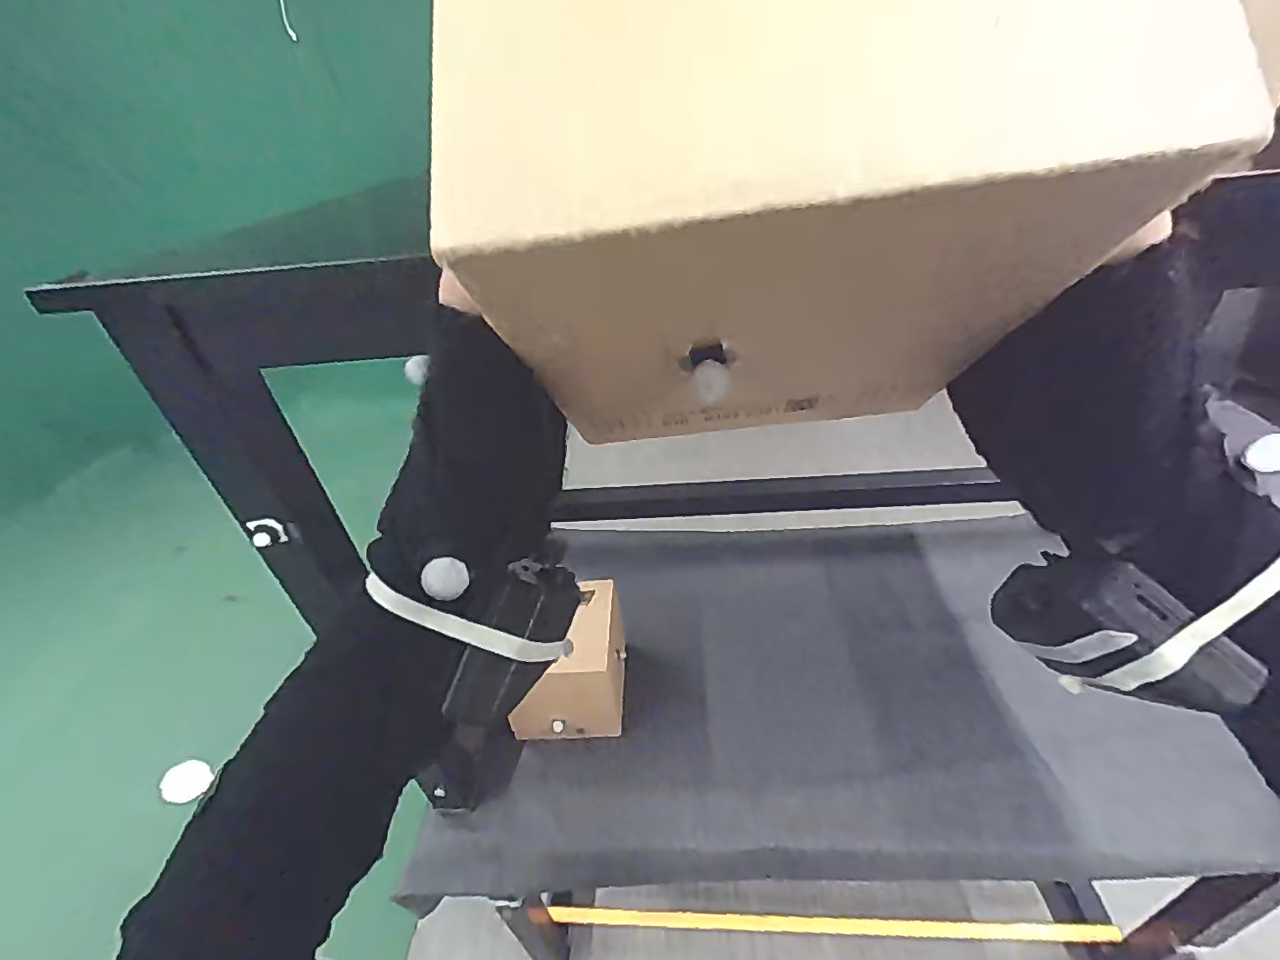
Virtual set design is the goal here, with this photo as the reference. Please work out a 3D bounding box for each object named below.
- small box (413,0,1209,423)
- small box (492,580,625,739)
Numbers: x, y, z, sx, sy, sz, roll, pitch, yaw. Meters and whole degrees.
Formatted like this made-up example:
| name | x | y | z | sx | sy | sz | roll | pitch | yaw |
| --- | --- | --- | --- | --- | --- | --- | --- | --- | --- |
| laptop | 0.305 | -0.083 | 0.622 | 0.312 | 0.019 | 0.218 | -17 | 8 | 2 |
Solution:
| name | x | y | z | sx | sy | sz | roll | pitch | yaw |
| --- | --- | --- | --- | --- | --- | --- | --- | --- | --- |
| small box | 0.034 | -0.127 | 0.208 | 0.168 | 0.176 | 0.179 | -6 | 78 | 6 |
| small box | -0.116 | 0.282 | 0.856 | 0.168 | 0.176 | 0.179 | -4 | 35 | 4 |
